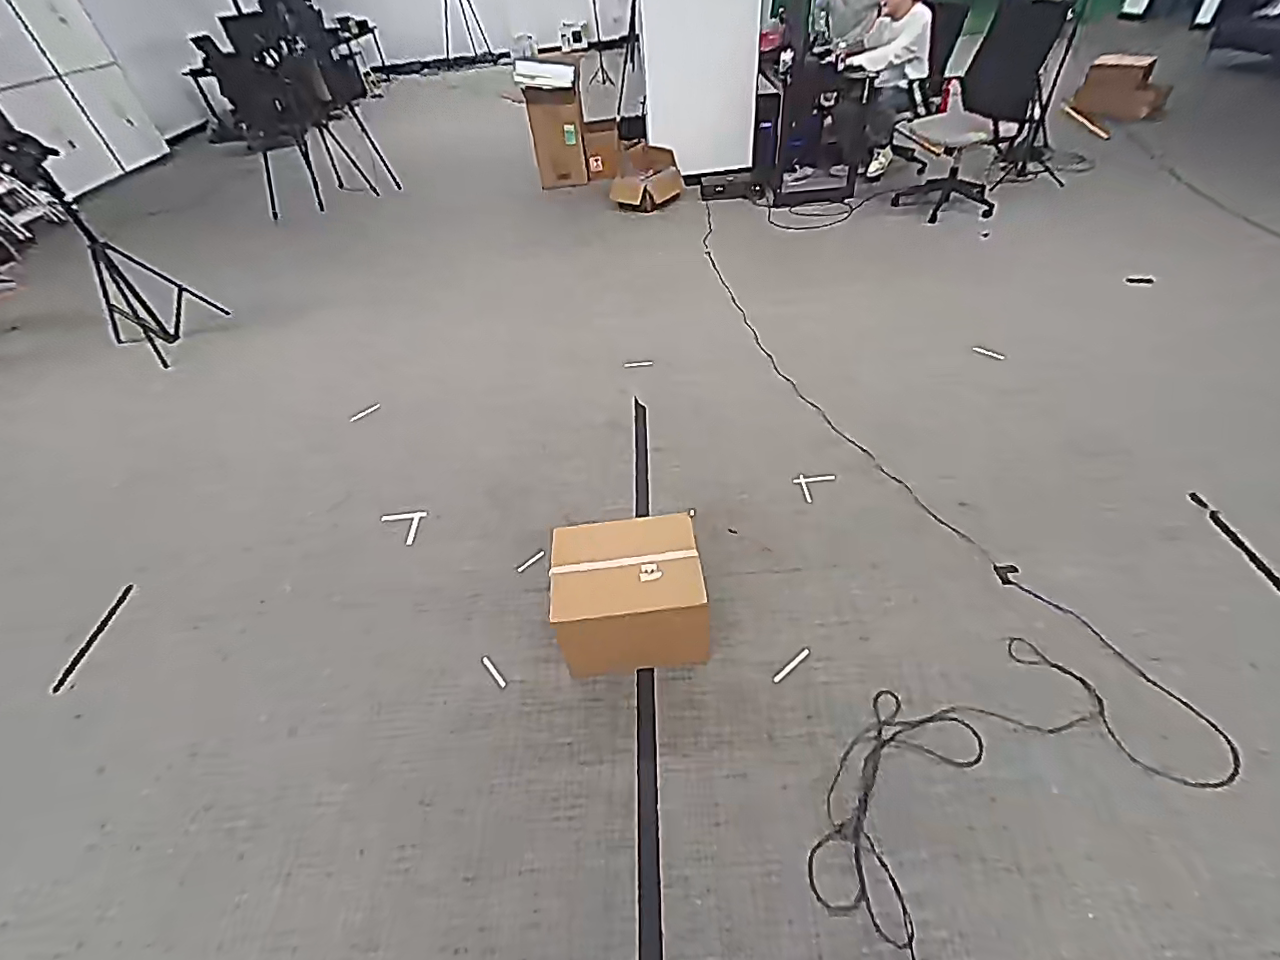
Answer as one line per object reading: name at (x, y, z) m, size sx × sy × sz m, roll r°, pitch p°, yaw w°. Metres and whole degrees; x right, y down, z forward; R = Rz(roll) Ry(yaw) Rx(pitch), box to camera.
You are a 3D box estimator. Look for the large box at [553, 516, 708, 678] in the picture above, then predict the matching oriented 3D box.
large box at (-0.028, 0.341, 1.572) m, size 0.408 × 0.320 × 0.320 m, roll -7°, pitch 45°, yaw 0°
